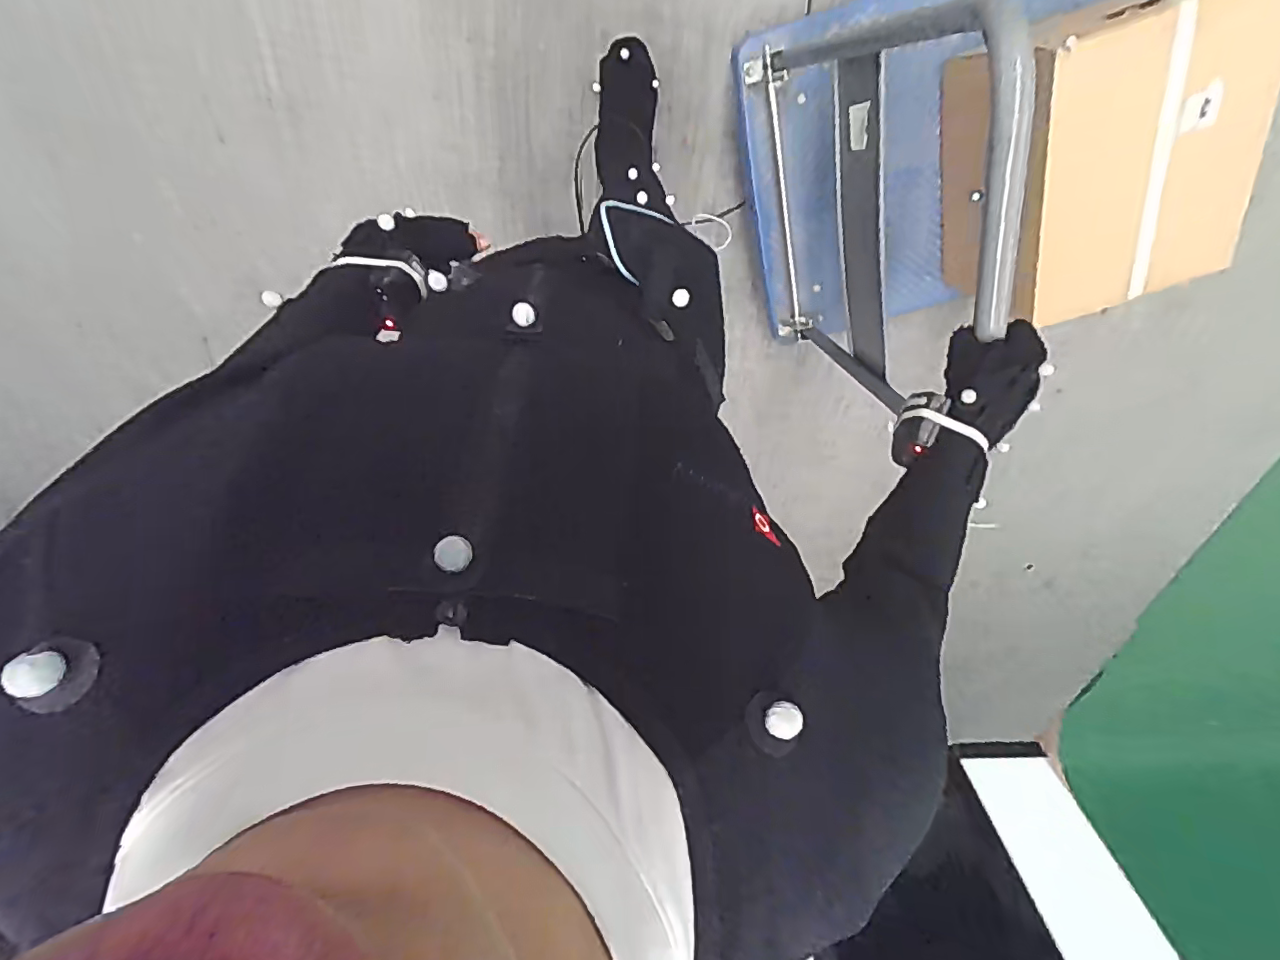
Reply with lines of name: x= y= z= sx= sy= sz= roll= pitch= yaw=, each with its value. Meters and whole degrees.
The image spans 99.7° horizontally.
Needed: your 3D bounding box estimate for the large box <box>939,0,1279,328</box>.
large box: x=0.743 y=-0.539 z=0.925 sx=0.320 sy=0.320 sz=0.408 roll=-17 pitch=124 yaw=8
